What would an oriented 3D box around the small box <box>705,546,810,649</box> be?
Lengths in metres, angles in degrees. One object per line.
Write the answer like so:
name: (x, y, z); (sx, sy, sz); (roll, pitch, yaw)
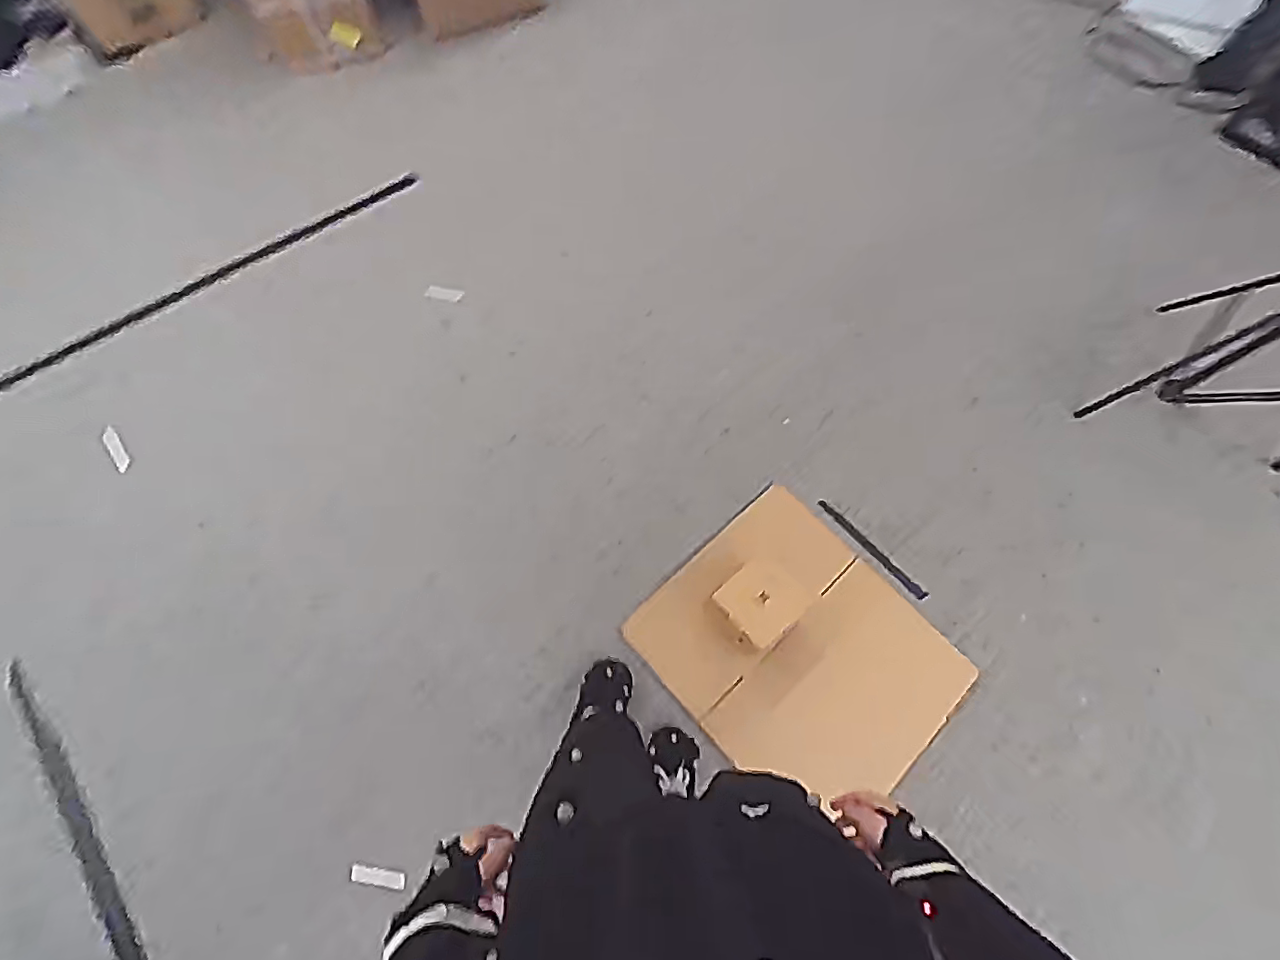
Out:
small box: (0.276, 0.293, 1.319); (0.179, 0.176, 0.168); (-38, 75, -16)
